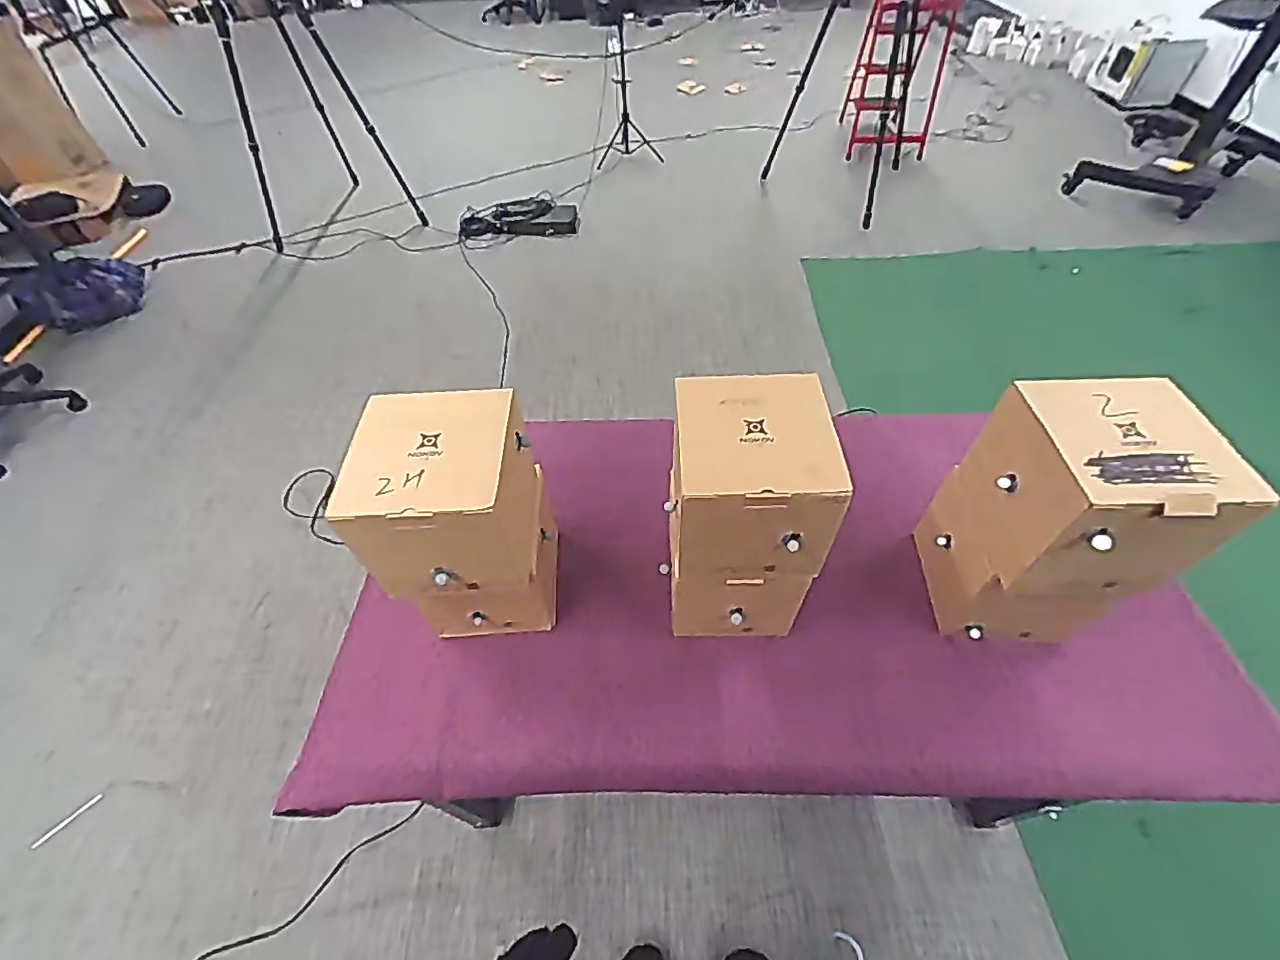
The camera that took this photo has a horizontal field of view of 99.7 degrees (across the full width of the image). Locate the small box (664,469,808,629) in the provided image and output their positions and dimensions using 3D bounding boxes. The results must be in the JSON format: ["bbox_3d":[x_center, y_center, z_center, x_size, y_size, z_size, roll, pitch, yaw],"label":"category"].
[{"bbox_3d":[0.124,0.098,0.757,0.168,0.176,0.179,-4,51,1],"label":"small box"}]

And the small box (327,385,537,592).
[{"bbox_3d":[-0.219,0.012,0.627,0.168,0.176,0.179,-3,52,0],"label":"small box"}]

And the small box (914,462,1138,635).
[{"bbox_3d":[0.502,0.097,0.739,0.168,0.176,0.179,3,51,5],"label":"small box"}]

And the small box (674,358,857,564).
[{"bbox_3d":[0.125,-0.015,0.614,0.168,0.176,0.179,-1,51,2],"label":"small box"}]

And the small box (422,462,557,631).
[{"bbox_3d":[-0.213,0.096,0.771,0.168,0.176,0.179,-4,52,-1],"label":"small box"}]
